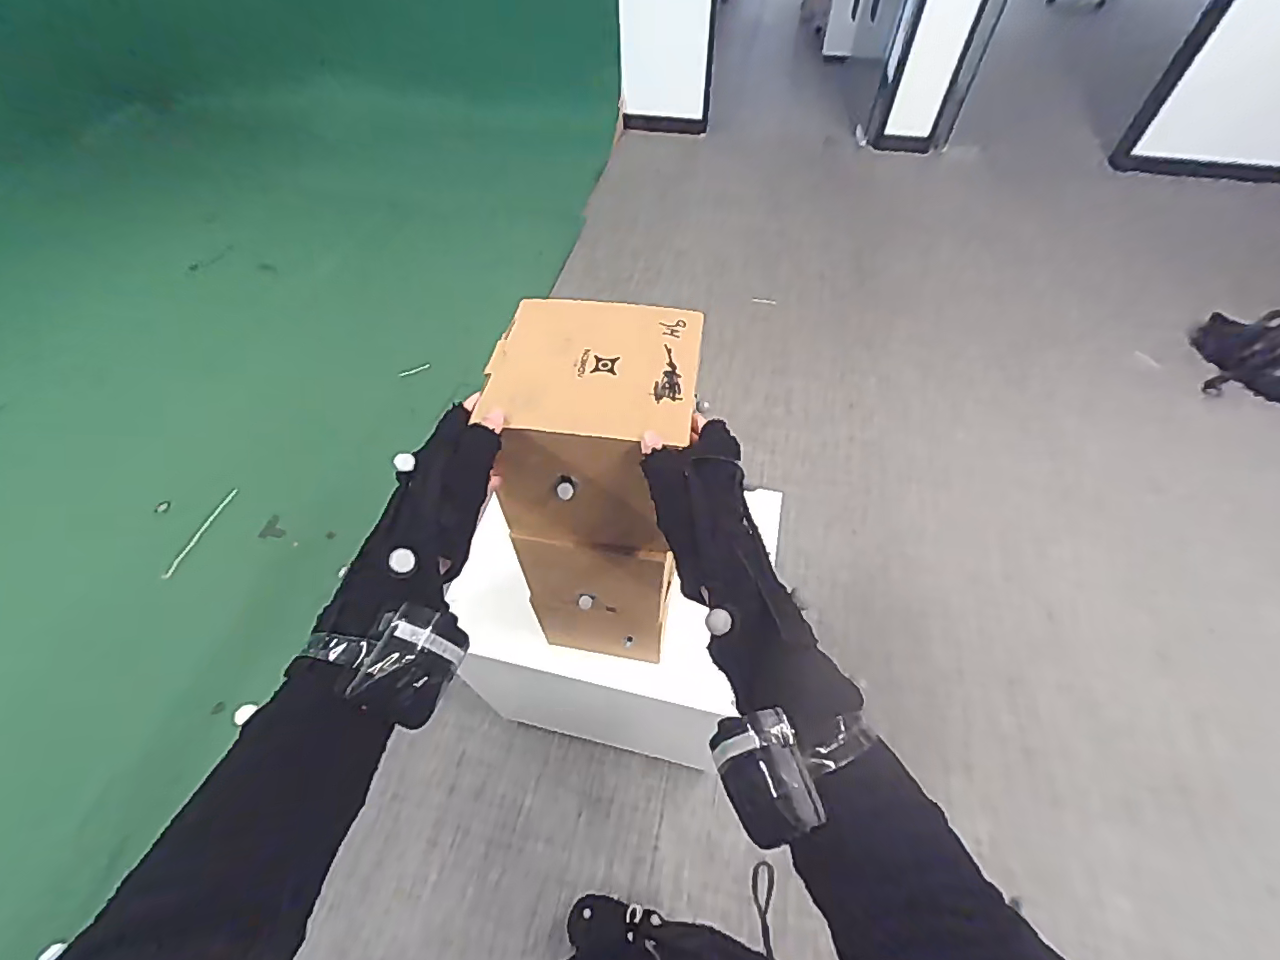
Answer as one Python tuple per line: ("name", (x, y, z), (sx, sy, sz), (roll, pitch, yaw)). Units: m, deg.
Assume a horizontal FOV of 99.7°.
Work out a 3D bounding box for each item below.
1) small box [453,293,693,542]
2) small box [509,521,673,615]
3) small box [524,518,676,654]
("small box", (-0.046, -0.055, 0.520), (0.179, 0.176, 0.168), (6, 55, 6))
("small box", (-0.043, 0.040, 0.655), (0.168, 0.176, 0.179), (6, 53, 5))
("small box", (-0.046, 0.141, 0.785), (0.179, 0.176, 0.168), (7, 55, 8))
